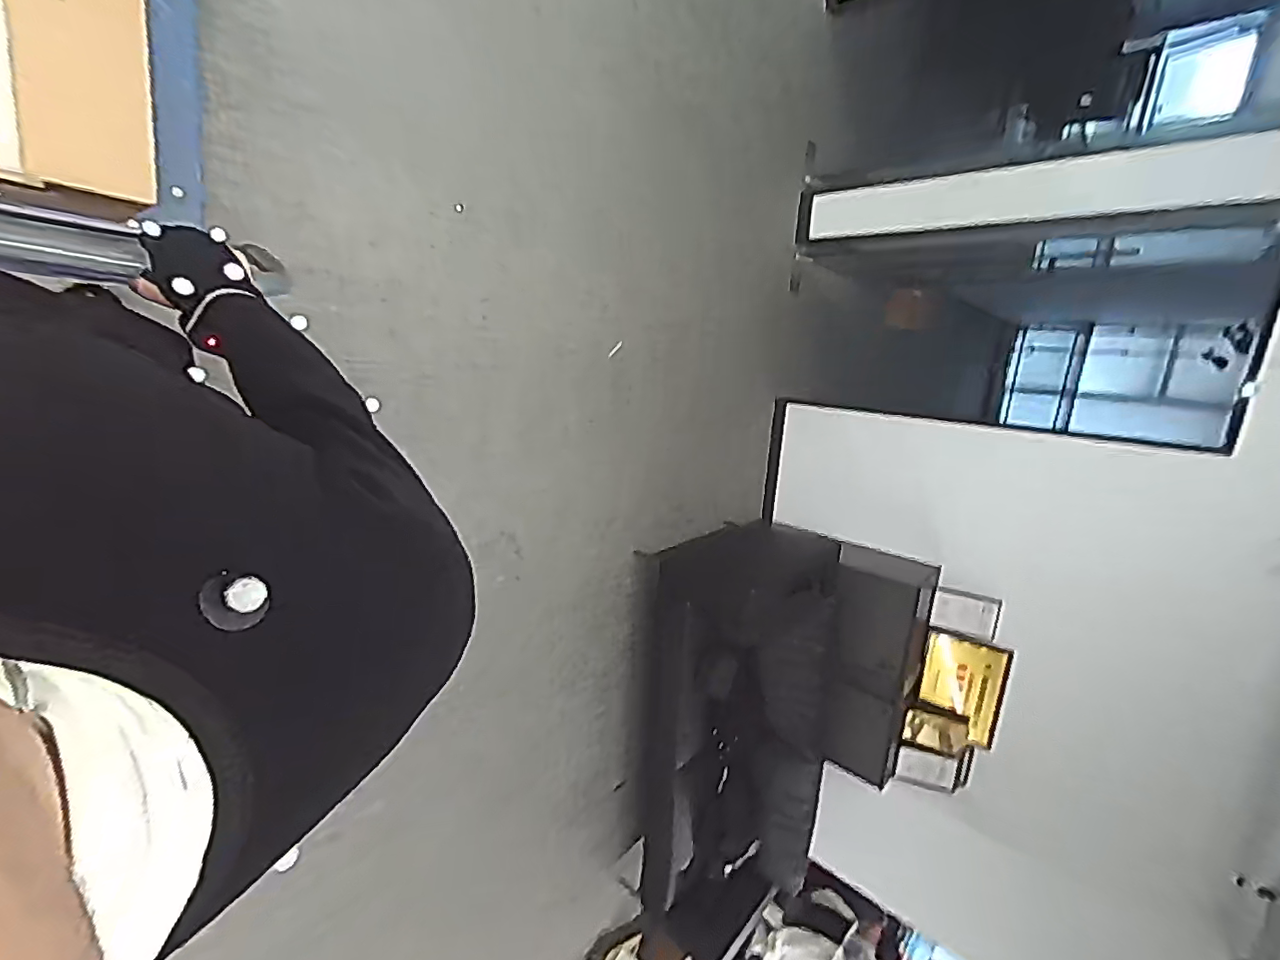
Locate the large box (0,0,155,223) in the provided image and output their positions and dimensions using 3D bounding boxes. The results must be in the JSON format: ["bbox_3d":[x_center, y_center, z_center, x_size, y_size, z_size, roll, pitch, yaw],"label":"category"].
[{"bbox_3d":[-0.965,-0.644,0.800,0.320,0.320,0.408,-8,107,-49],"label":"large box"}]
